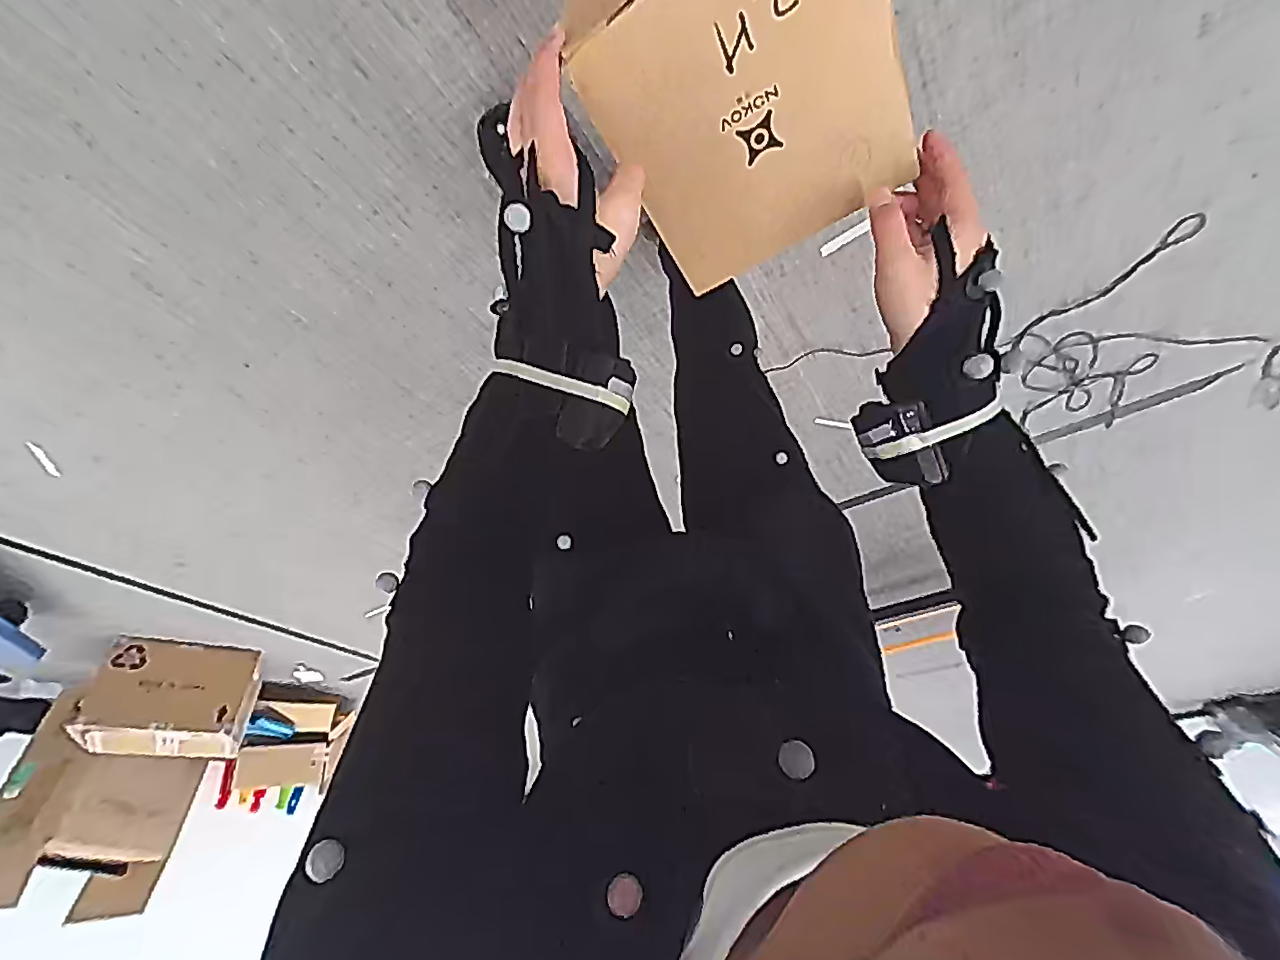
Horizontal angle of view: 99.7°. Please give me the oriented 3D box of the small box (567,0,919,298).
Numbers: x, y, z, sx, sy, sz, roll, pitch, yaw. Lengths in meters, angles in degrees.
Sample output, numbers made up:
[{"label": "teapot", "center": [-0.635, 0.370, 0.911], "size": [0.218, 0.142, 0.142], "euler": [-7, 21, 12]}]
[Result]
[{"label": "small box", "center": [0.067, -0.272, 0.373], "size": [0.168, 0.176, 0.179], "euler": [-23, 138, 21]}]
